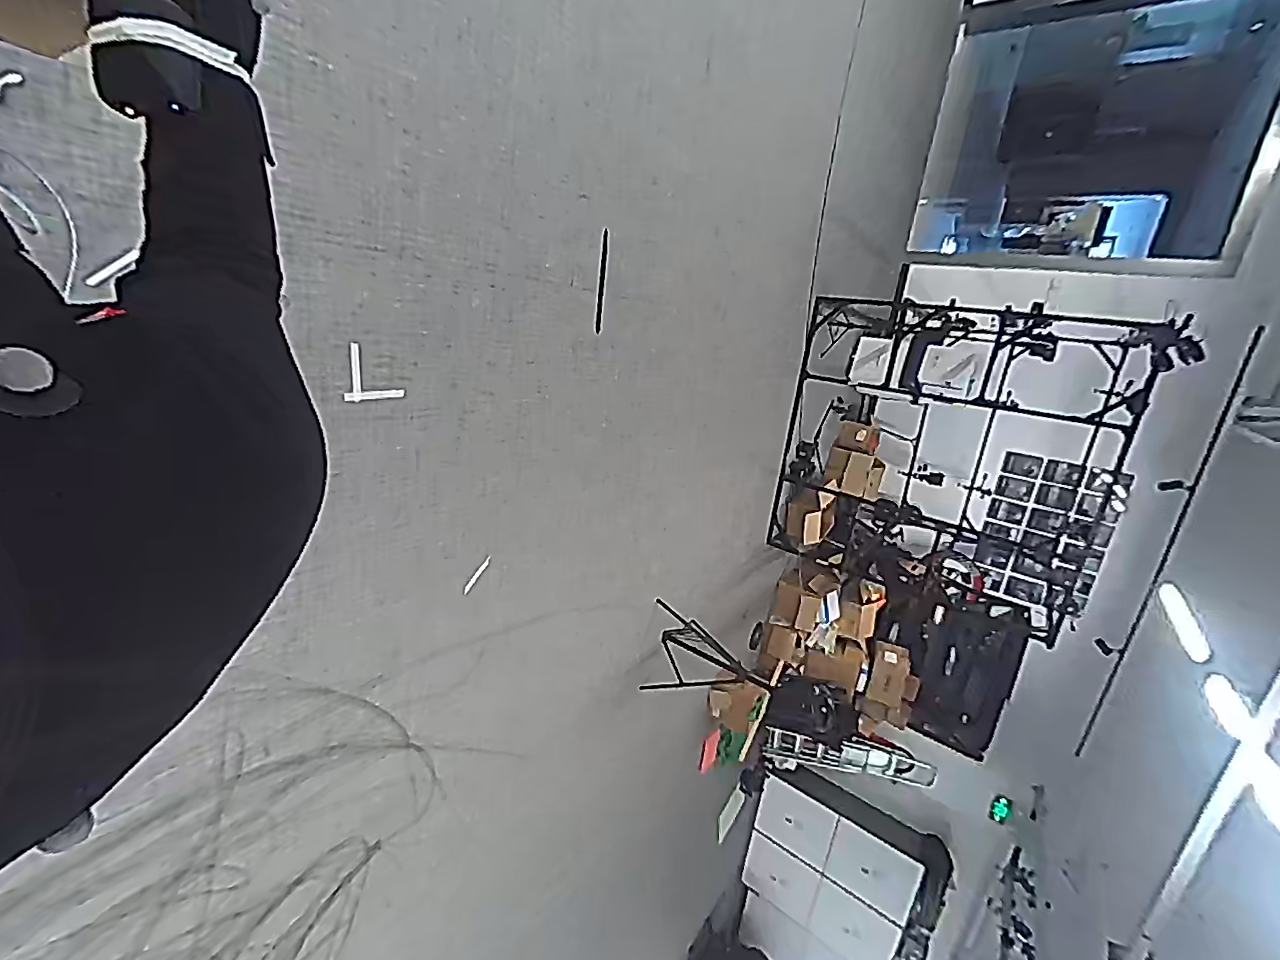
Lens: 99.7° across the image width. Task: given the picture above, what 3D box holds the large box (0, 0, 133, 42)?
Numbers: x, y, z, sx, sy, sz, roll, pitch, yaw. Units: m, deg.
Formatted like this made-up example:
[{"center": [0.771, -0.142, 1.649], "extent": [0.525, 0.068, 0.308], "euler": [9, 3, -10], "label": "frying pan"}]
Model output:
[{"center": [-0.537, -0.500, 0.250], "extent": [0.408, 0.320, 0.320], "euler": [-8, 116, -56], "label": "large box"}]
